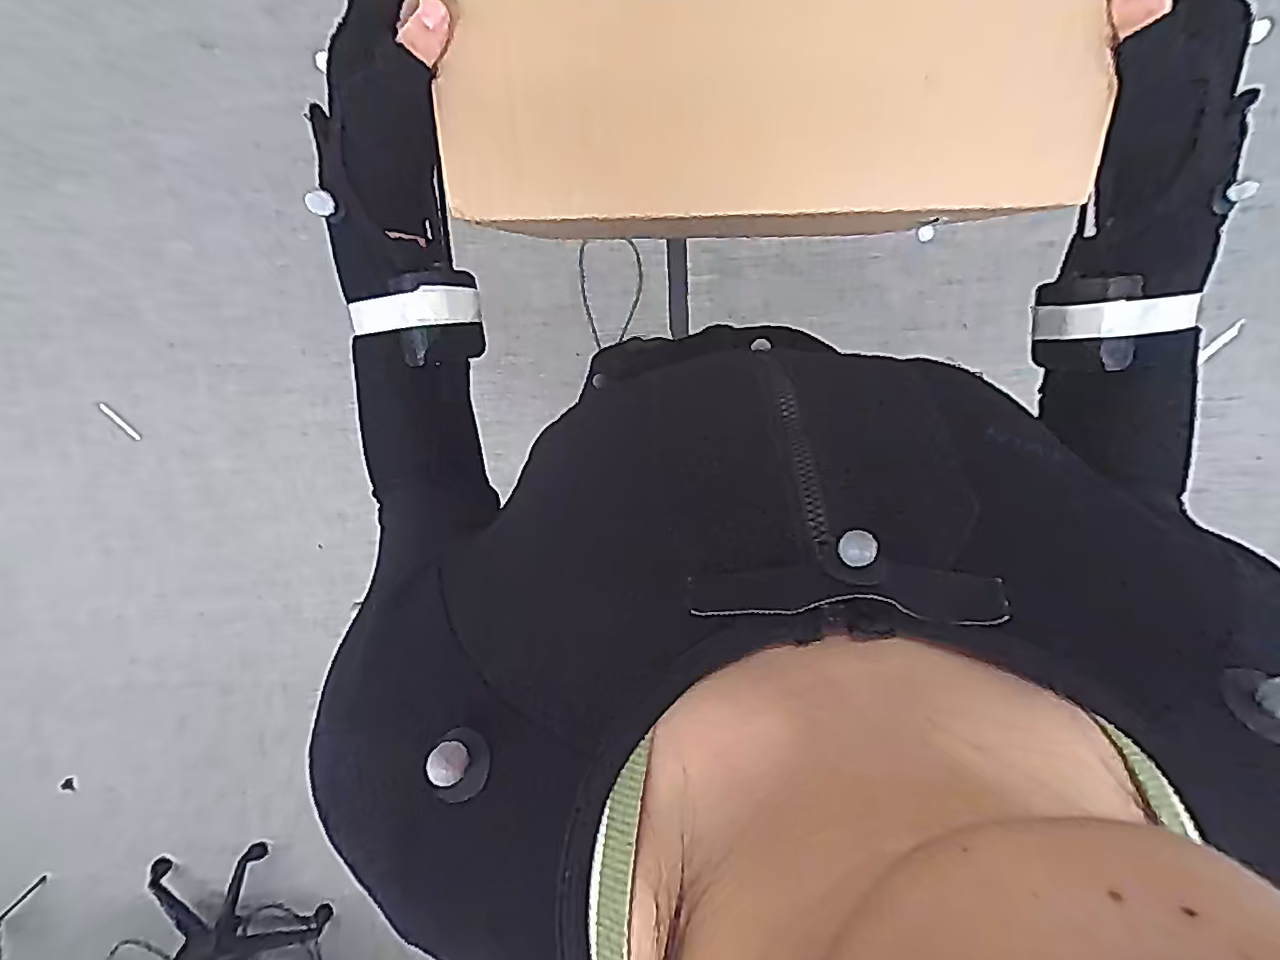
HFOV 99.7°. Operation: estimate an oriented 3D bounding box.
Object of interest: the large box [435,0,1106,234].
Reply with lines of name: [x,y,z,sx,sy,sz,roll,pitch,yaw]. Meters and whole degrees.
large box: [0.079,-0.379,0.439,0.408,0.320,0.320,-1,112,1]
